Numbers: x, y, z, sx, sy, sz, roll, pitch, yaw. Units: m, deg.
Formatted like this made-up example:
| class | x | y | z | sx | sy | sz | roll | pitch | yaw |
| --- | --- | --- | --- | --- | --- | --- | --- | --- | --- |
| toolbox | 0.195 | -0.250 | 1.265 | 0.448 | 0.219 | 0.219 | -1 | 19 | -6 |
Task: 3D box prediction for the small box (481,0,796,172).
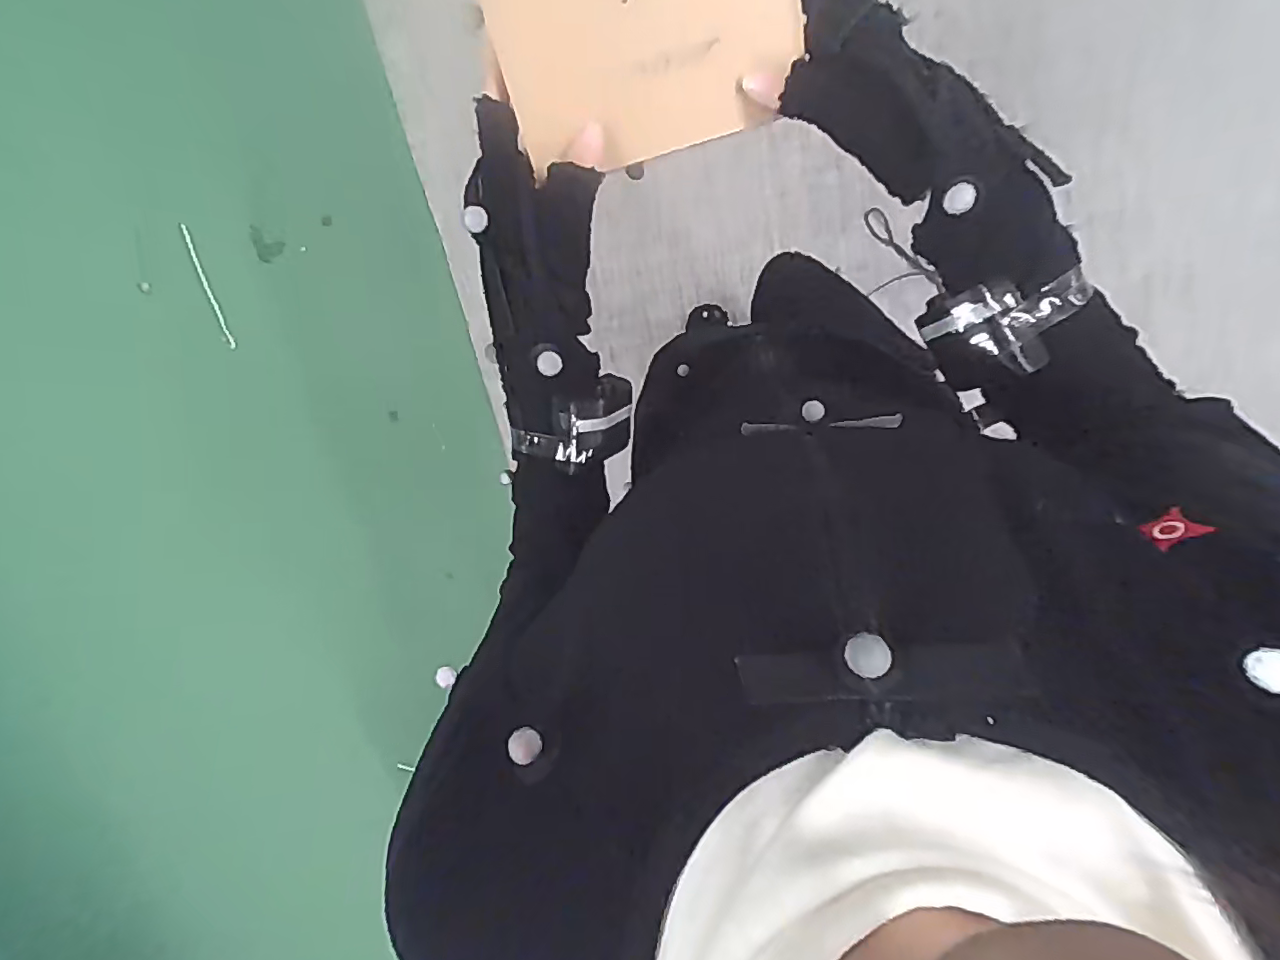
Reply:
| class | x | y | z | sx | sy | sz | roll | pitch | yaw |
| --- | --- | --- | --- | --- | --- | --- | --- | --- | --- |
| small box | -0.016 | -0.315 | 0.345 | 0.168 | 0.176 | 0.179 | -16 | 122 | 3 |
